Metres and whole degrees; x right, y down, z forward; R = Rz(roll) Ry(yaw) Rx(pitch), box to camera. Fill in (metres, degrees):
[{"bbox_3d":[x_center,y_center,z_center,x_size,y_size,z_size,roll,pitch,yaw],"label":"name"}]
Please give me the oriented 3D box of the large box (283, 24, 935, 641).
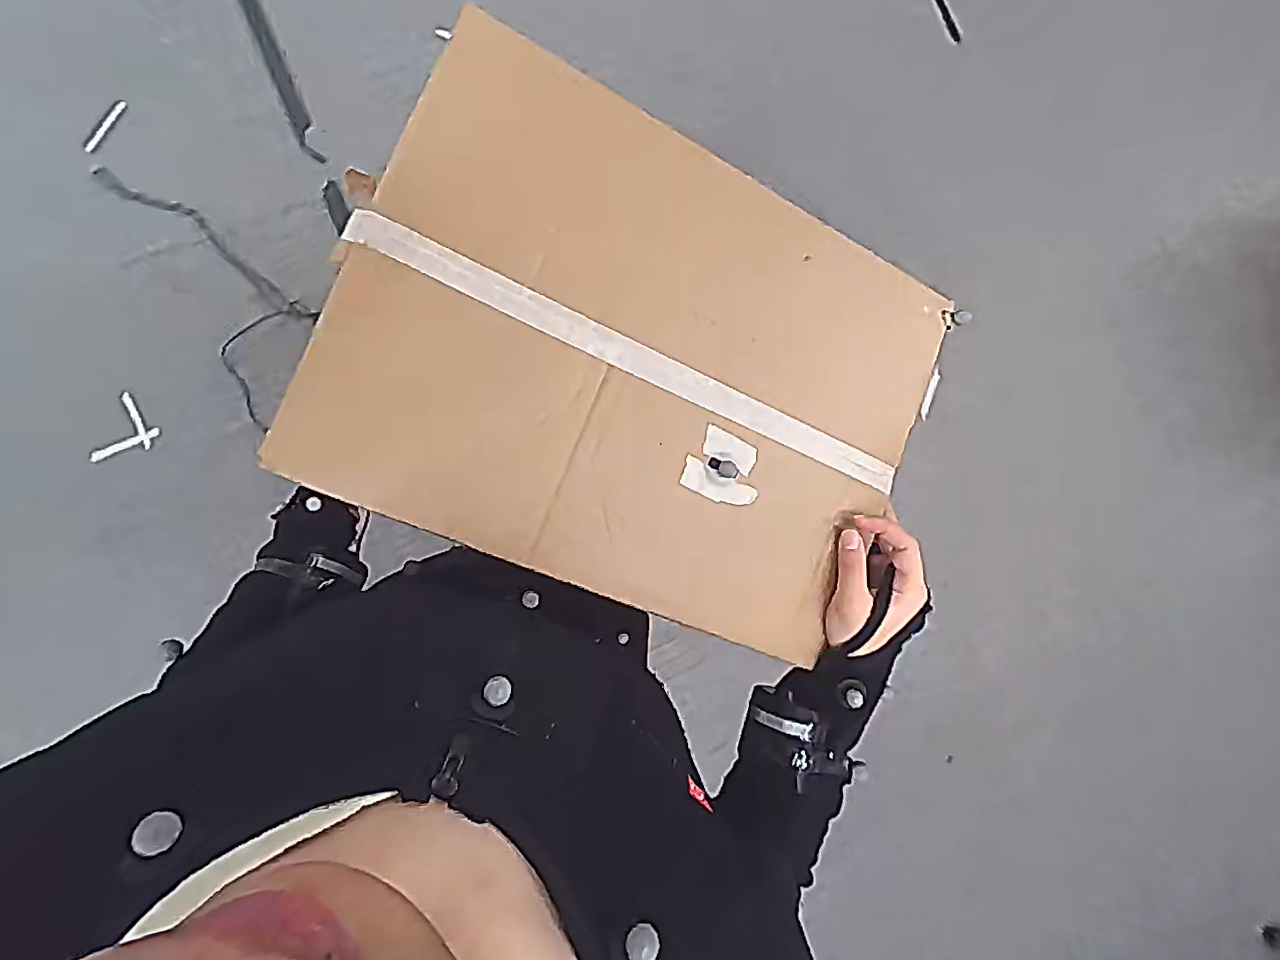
[{"bbox_3d":[-0.027,-0.085,0.524,0.408,0.320,0.320,22,86,-15],"label":"large box"}]
